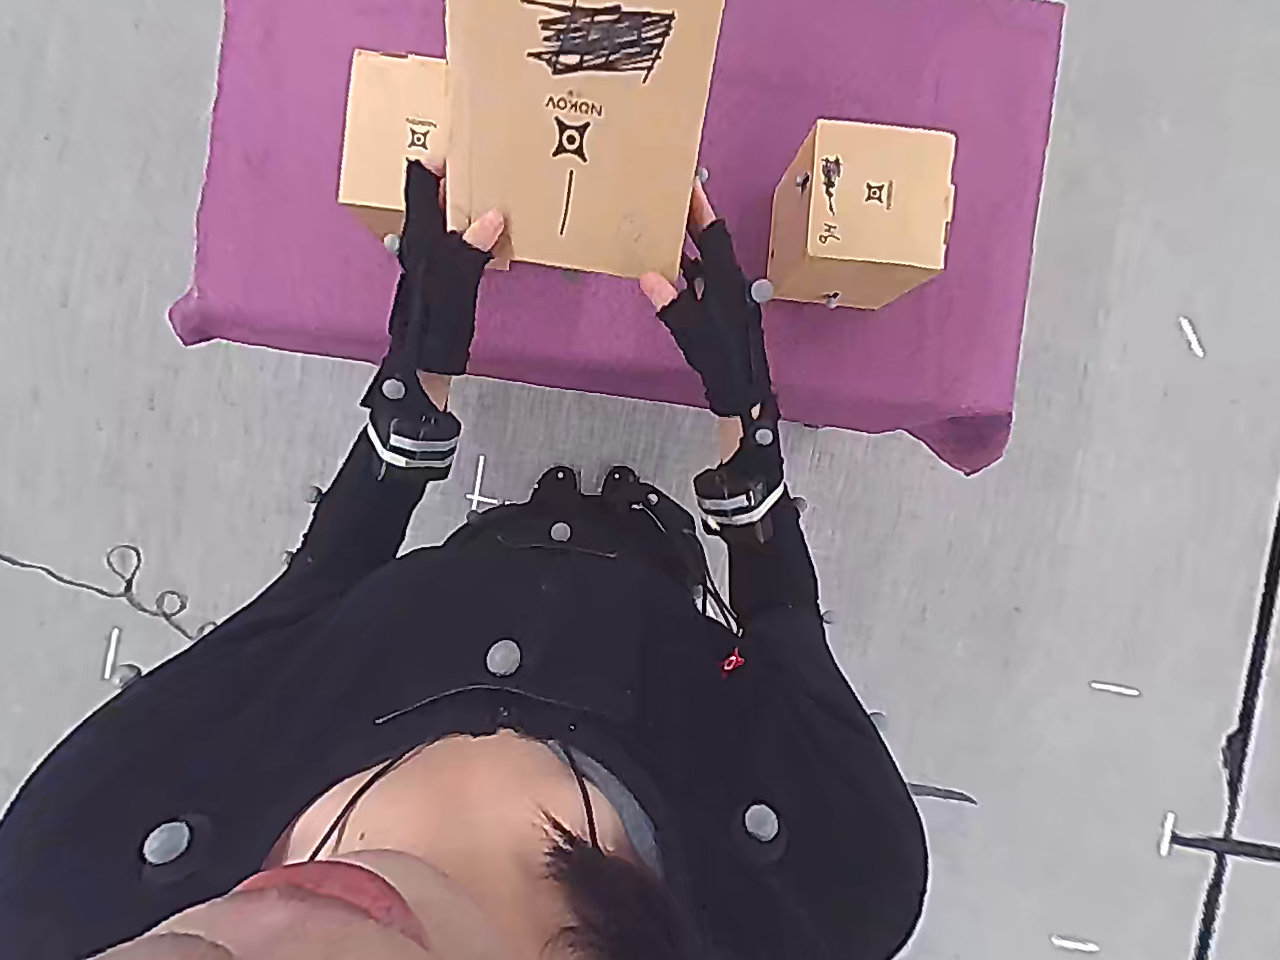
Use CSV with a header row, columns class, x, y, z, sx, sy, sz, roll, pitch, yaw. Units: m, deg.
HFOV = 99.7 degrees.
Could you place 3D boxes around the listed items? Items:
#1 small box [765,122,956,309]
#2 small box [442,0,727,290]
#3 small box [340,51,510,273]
class,x,y,z,sx,sy,sz,roll,pitch,yaw
small box,0.285,-0.340,0.731,0.179,0.176,0.168,5,91,-4
small box,-0.041,-0.256,0.415,0.168,0.176,0.179,8,114,-3
small box,-0.254,-0.391,0.694,0.168,0.176,0.179,6,92,-3
